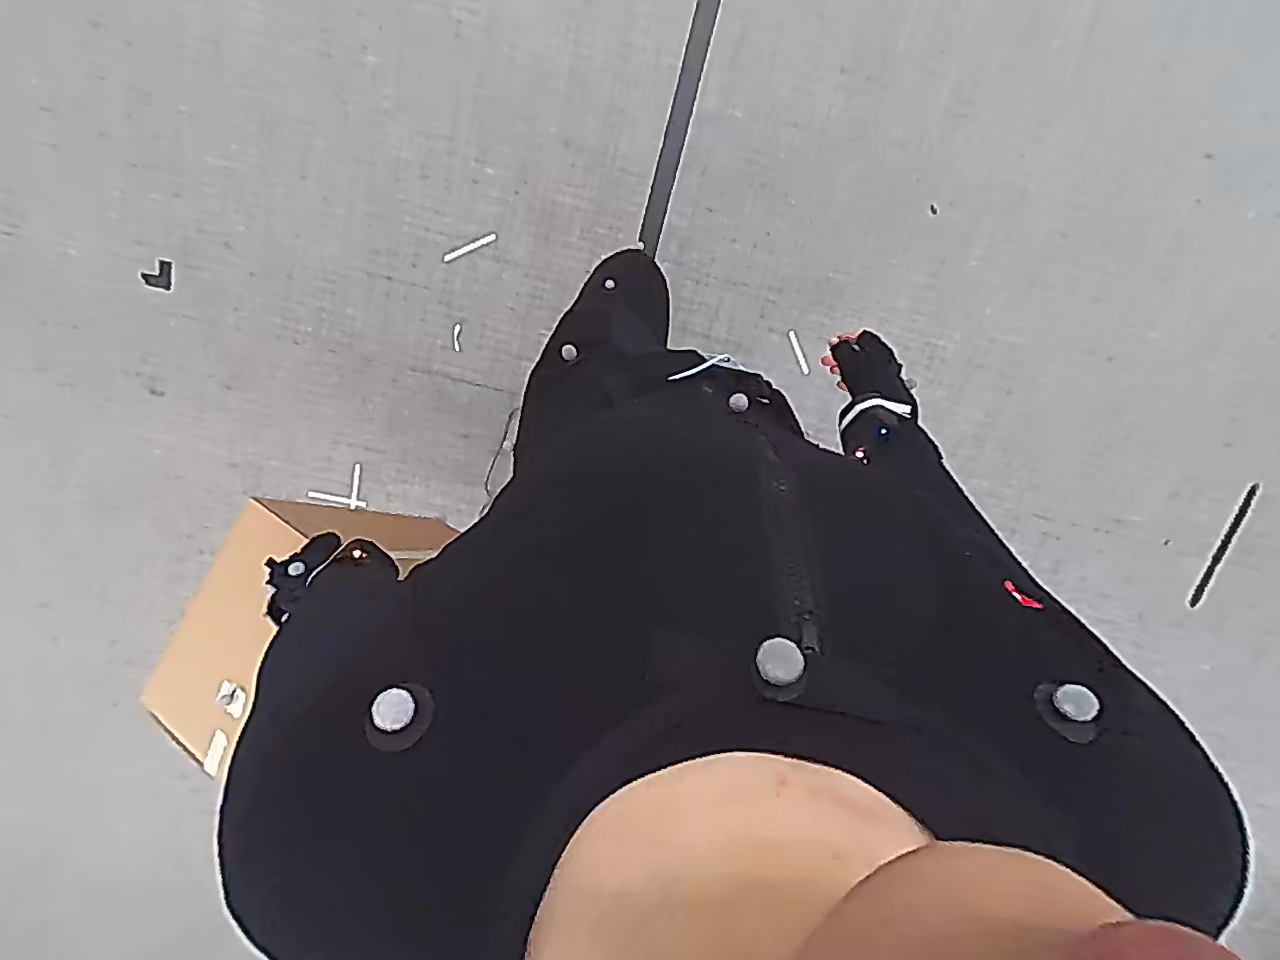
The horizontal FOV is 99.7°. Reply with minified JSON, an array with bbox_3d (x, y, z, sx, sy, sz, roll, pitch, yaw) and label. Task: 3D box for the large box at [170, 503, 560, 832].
[{"bbox_3d":[-0.397,0.260,0.877,0.320,0.408,0.320,29,89,18],"label":"large box"}]
